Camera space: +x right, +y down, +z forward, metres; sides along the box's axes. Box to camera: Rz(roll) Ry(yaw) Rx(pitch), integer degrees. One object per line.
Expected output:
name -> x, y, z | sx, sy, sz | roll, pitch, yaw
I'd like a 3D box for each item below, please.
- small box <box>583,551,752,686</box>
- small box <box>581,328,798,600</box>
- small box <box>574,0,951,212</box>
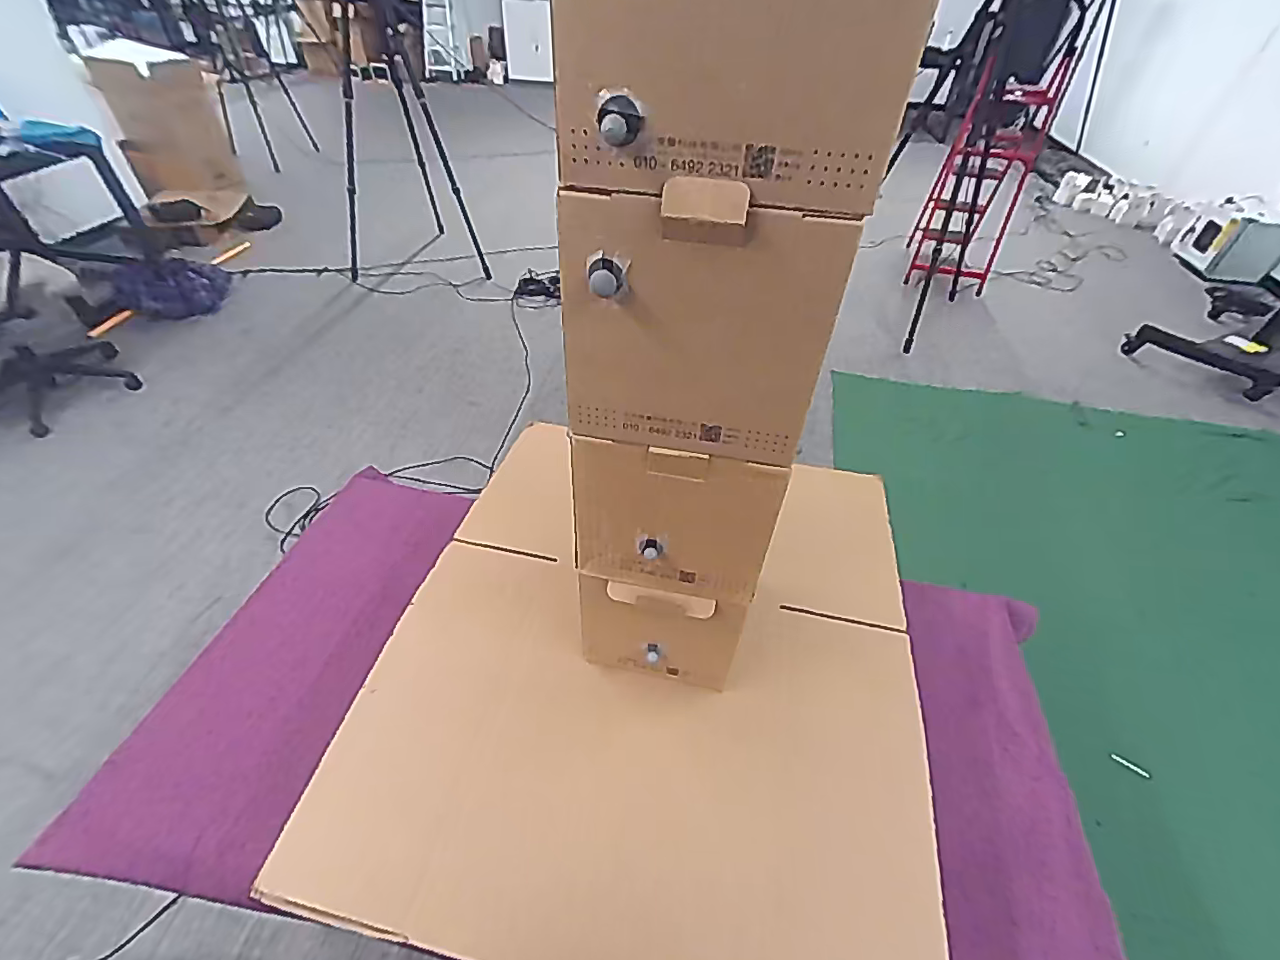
small box -> 0.037, 0.102, 0.620 | 0.168, 0.176, 0.179 | 11, 43, 8
small box -> 0.045, -0.017, 0.510 | 0.168, 0.176, 0.179 | 10, 43, 6
small box -> 0.061, -0.260, 0.288 | 0.168, 0.176, 0.179 | 7, 44, 3
